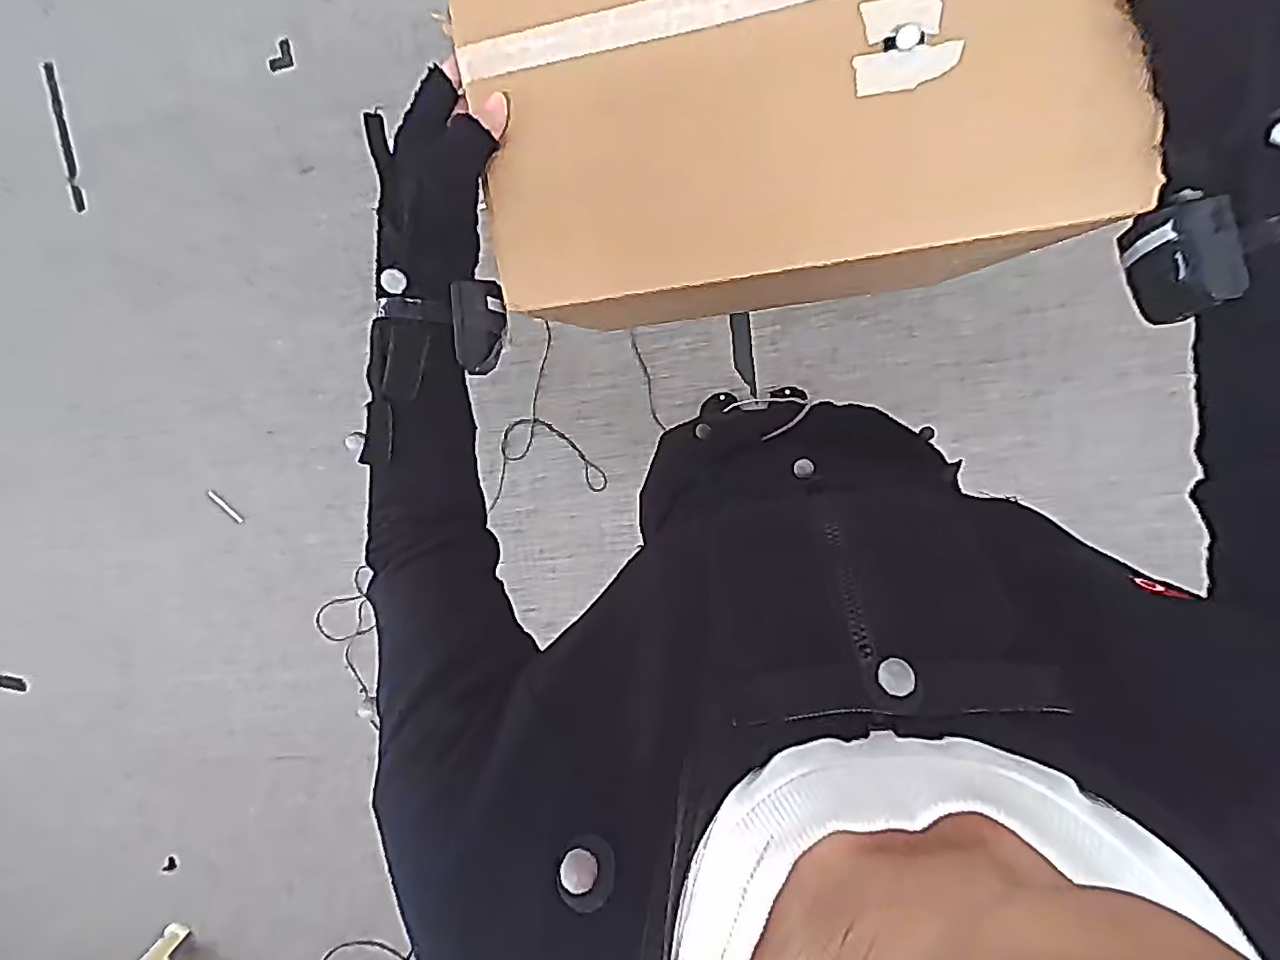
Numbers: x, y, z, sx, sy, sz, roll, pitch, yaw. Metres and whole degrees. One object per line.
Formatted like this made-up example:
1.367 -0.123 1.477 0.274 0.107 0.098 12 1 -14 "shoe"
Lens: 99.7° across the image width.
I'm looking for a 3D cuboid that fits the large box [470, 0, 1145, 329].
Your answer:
0.105 -0.329 0.476 0.408 0.320 0.320 -6 102 9 "large box"
